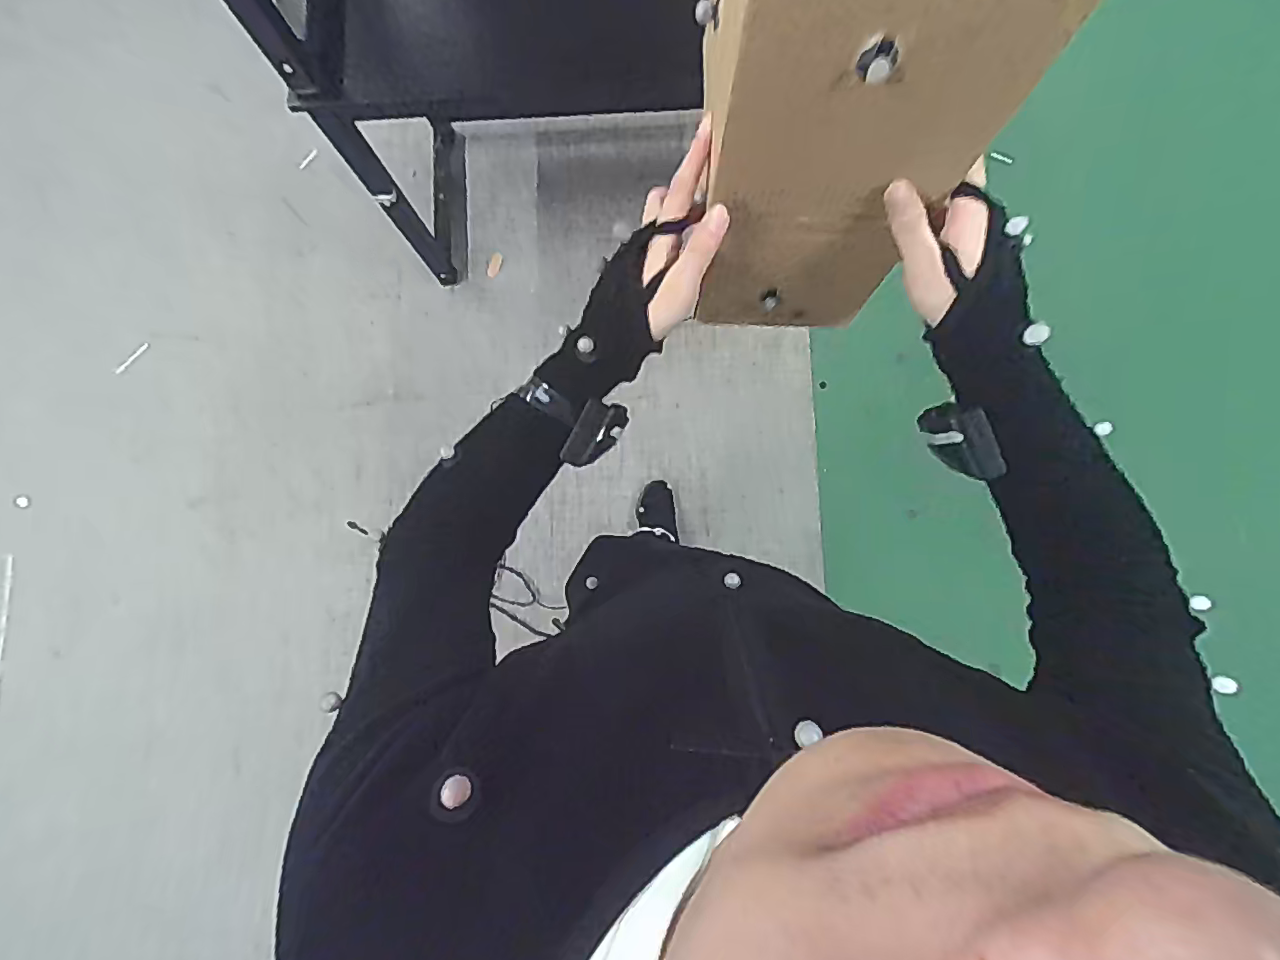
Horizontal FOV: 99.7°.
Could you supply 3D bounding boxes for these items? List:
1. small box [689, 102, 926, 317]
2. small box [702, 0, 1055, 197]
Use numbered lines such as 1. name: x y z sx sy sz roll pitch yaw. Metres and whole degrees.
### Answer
1. small box: 0.136 -0.276 0.502 0.168 0.176 0.179 2 79 0
2. small box: 0.133 -0.305 0.339 0.179 0.176 0.168 1 79 0
